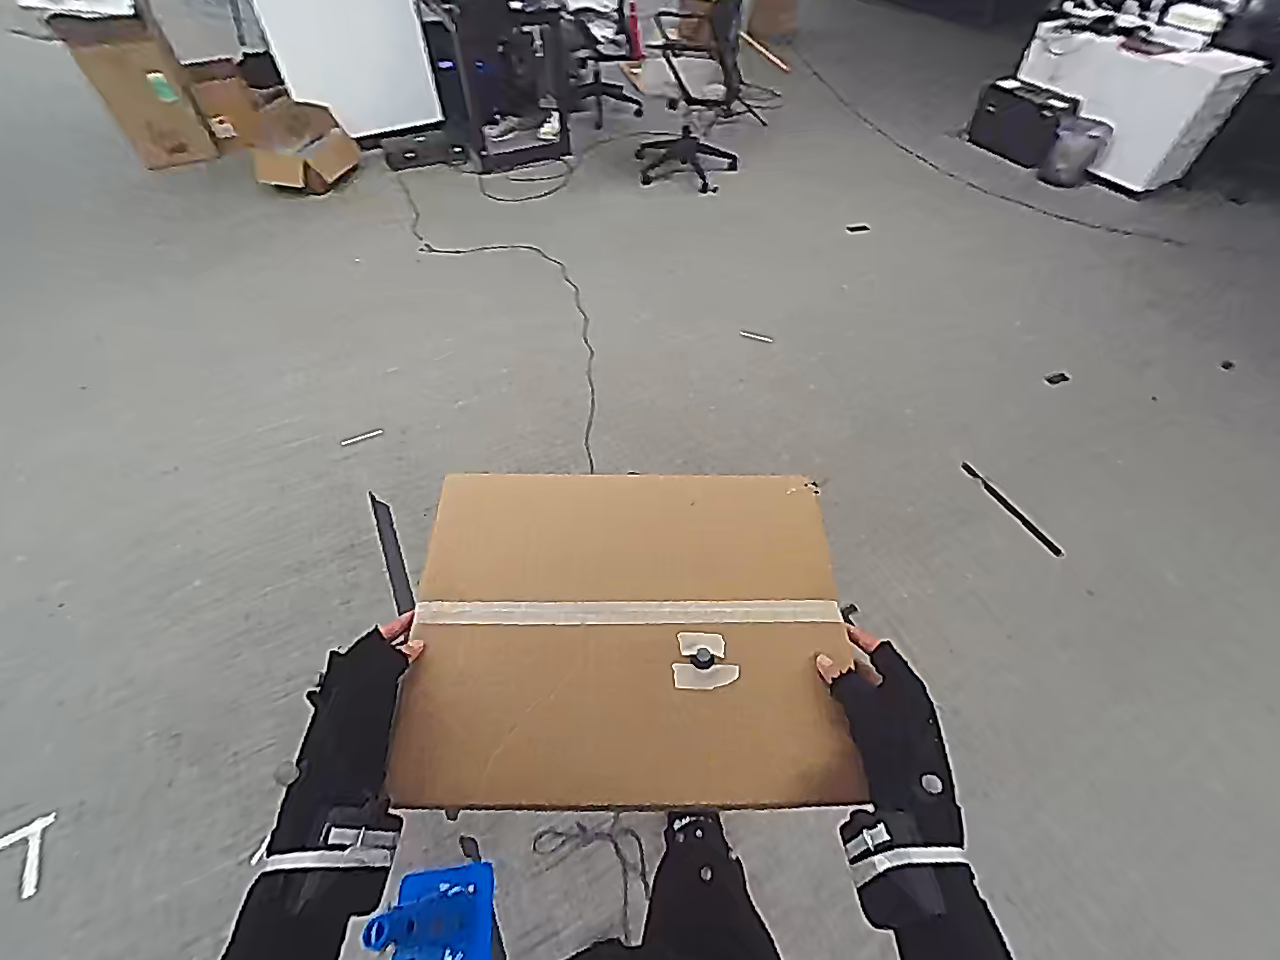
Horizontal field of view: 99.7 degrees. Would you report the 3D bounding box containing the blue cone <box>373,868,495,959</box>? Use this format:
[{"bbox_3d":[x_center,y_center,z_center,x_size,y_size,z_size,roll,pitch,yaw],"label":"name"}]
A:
[{"bbox_3d":[-0.400,0.835,0.999,0.193,0.380,0.192,-5,53,-3],"label":"blue cone"}]

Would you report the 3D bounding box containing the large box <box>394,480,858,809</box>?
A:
[{"bbox_3d":[-0.017,0.211,0.660,0.408,0.320,0.320,0,58,-1],"label":"large box"}]
